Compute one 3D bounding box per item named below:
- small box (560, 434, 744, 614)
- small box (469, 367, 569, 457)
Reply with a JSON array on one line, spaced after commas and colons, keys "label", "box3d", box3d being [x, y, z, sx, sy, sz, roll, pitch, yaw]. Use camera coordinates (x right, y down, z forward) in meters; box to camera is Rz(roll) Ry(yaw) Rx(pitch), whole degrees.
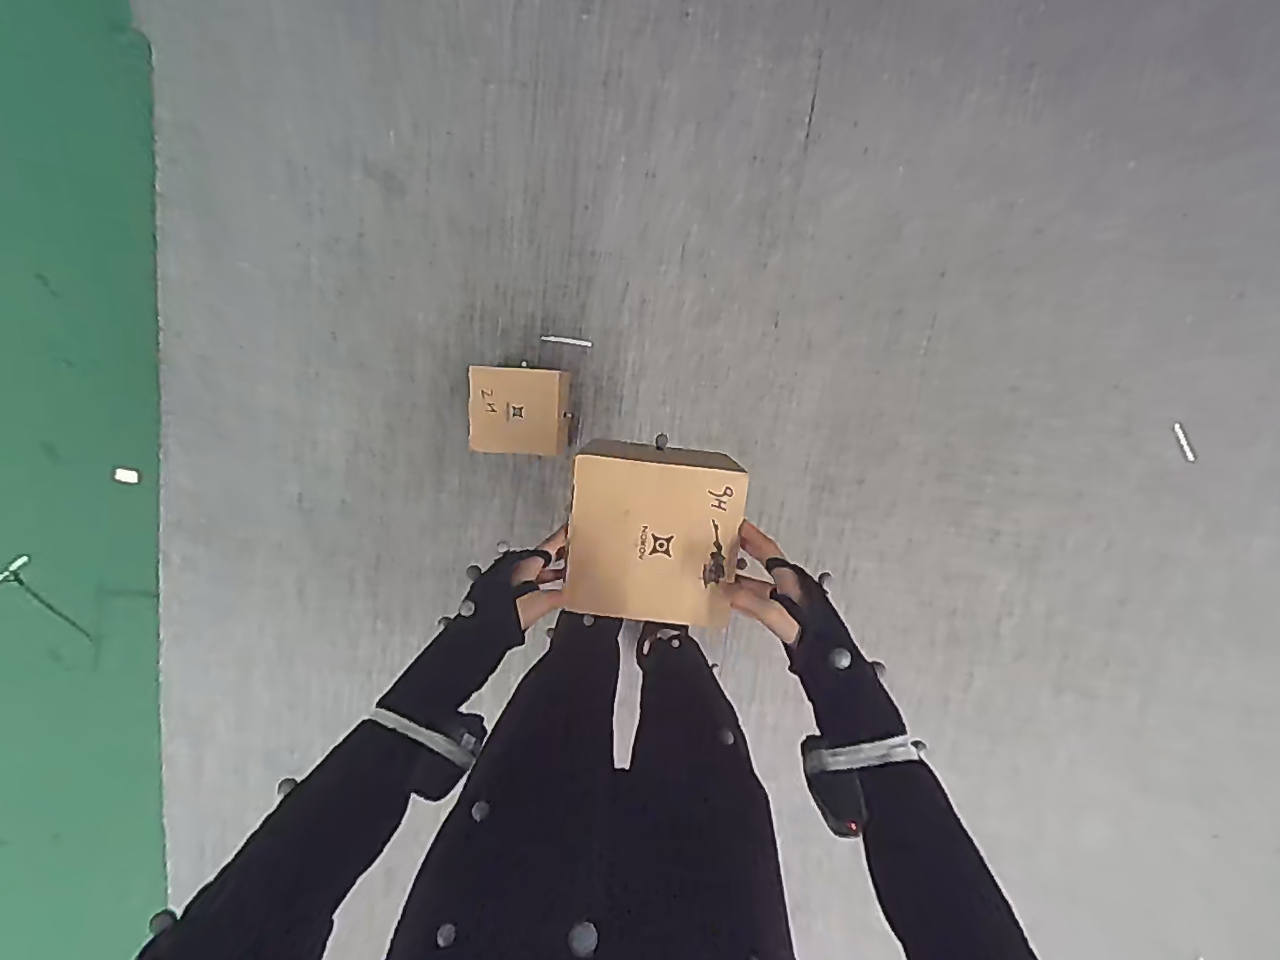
[{"label": "small box", "box3d": [0.012, 0.039, 0.640, 0.179, 0.176, 0.168, 7, 100, 0]}, {"label": "small box", "box3d": [-0.246, -0.145, 1.134, 0.179, 0.176, 0.168, 4, 99, 0]}]
